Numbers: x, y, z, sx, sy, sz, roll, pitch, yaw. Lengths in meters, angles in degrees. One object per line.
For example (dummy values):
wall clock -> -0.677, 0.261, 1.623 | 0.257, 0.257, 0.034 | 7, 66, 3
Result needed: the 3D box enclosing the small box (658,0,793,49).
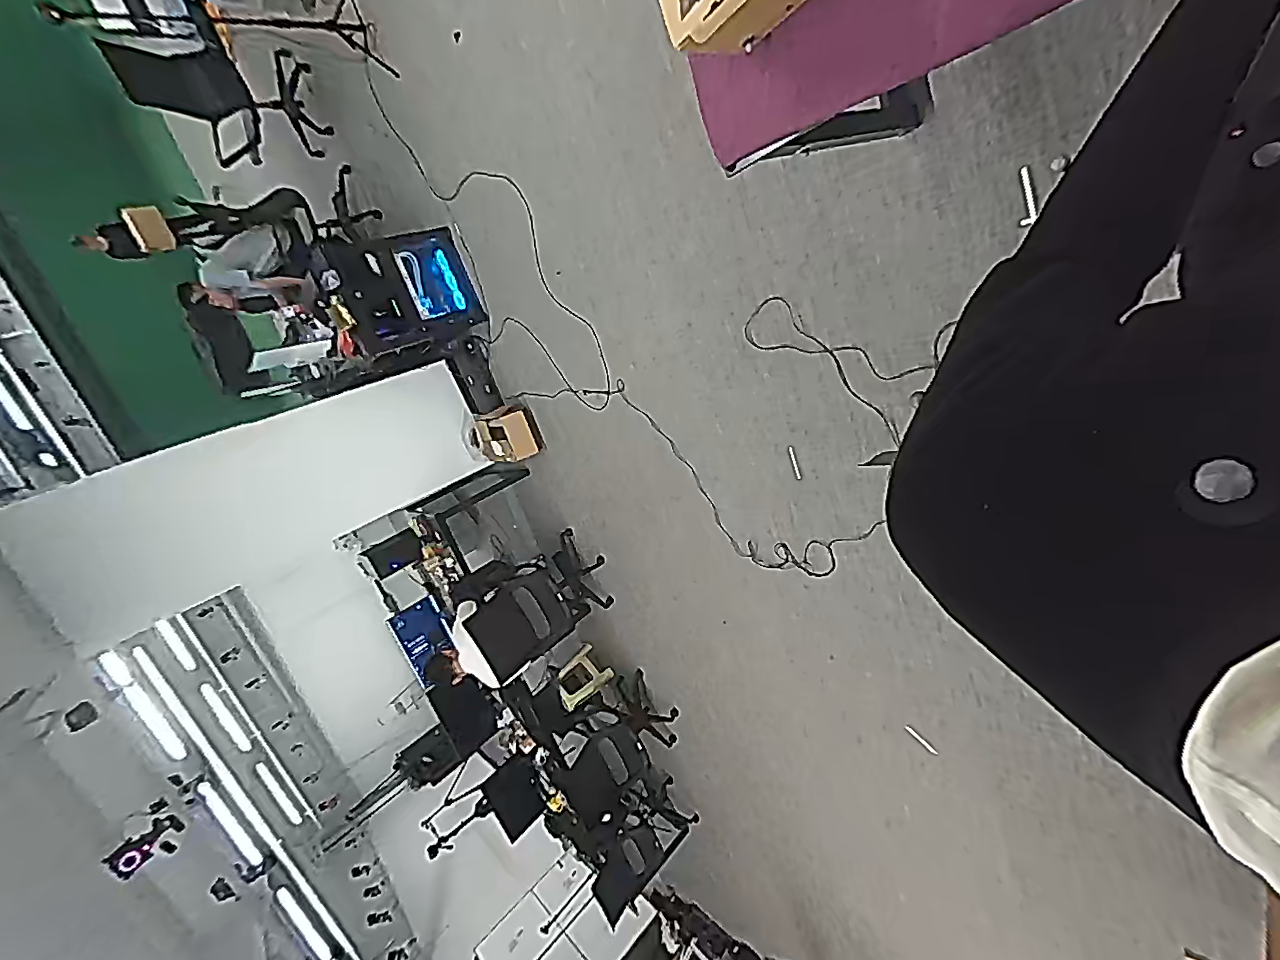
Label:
small box -> 0.126, -0.743, 0.749 | 0.168, 0.176, 0.179 | -4, 111, 52
